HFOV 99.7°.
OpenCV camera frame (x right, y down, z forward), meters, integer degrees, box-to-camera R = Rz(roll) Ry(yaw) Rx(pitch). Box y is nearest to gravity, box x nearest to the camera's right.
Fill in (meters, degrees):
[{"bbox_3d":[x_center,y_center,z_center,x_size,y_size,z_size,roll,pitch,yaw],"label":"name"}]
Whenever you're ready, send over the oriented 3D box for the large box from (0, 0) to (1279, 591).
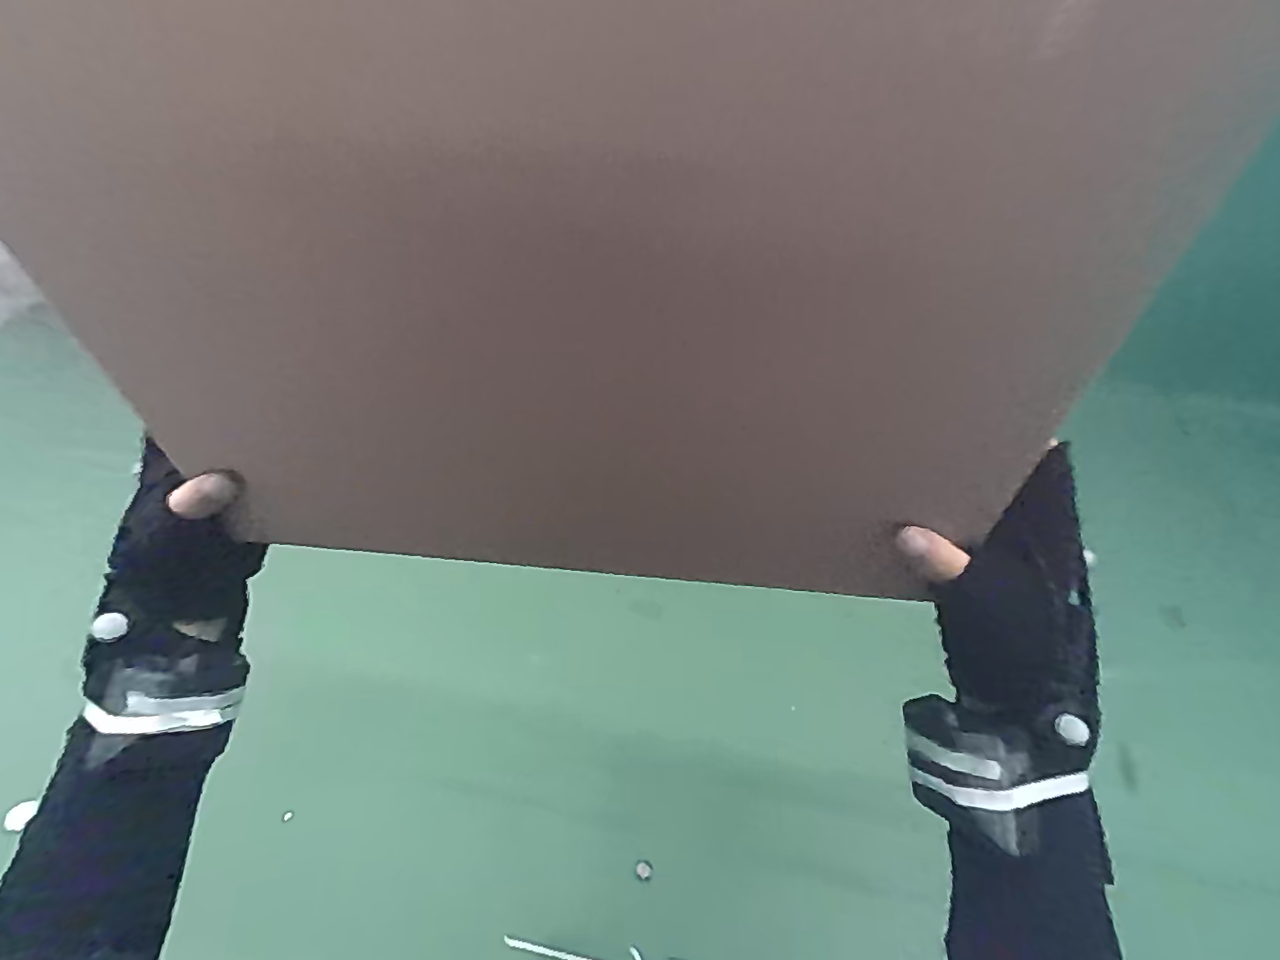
[{"bbox_3d":[-0.007,-0.160,0.313,0.408,0.320,0.320,5,44,2],"label":"large box"}]
